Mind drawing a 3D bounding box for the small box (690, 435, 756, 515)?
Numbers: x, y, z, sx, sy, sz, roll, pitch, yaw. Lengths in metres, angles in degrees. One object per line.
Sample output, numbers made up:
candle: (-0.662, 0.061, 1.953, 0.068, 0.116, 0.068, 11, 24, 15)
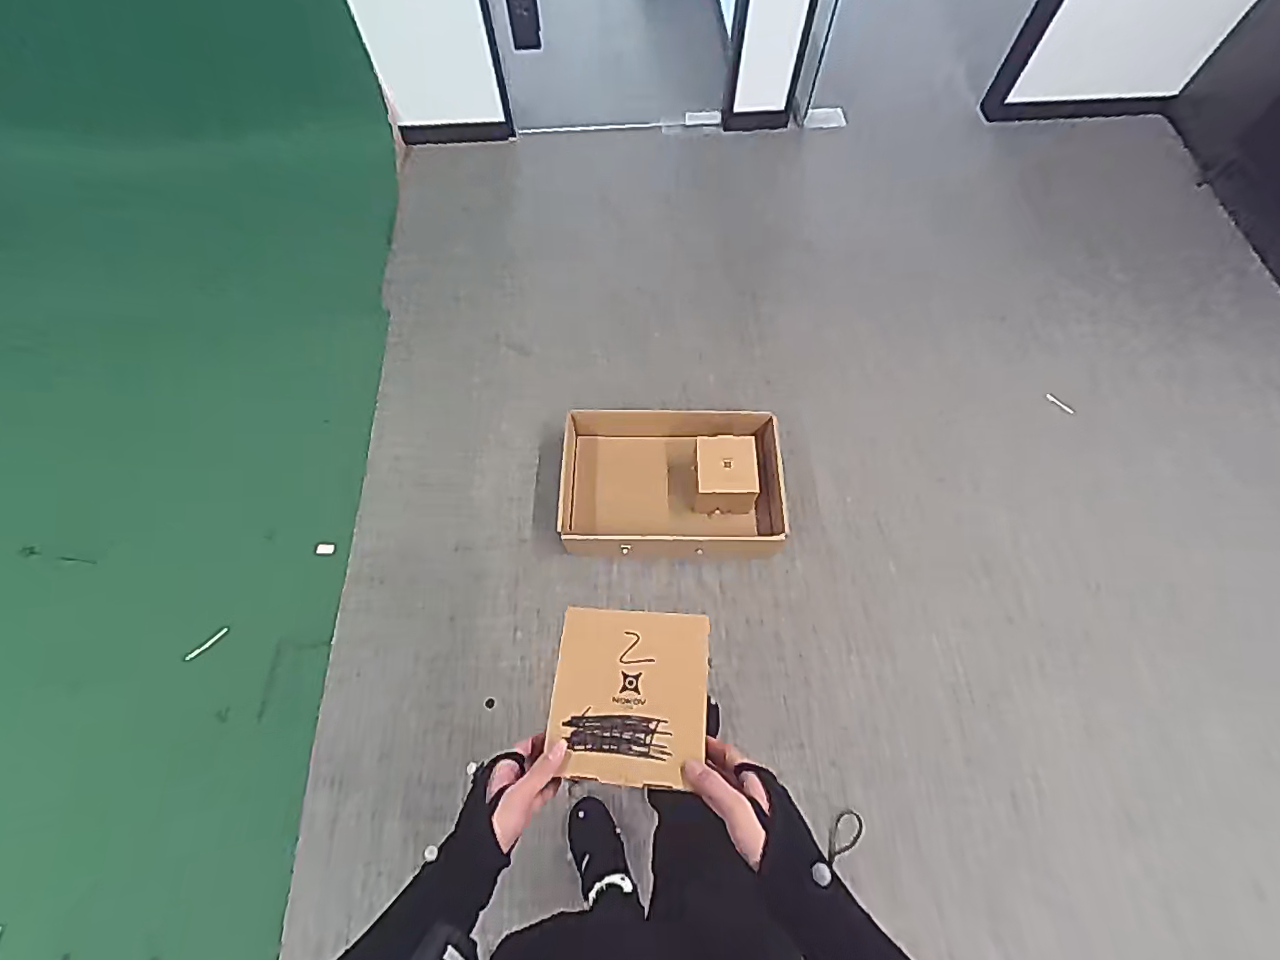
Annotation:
small box: (0.231, -0.012, 1.549, 0.168, 0.176, 0.179, 0, 65, 1)
